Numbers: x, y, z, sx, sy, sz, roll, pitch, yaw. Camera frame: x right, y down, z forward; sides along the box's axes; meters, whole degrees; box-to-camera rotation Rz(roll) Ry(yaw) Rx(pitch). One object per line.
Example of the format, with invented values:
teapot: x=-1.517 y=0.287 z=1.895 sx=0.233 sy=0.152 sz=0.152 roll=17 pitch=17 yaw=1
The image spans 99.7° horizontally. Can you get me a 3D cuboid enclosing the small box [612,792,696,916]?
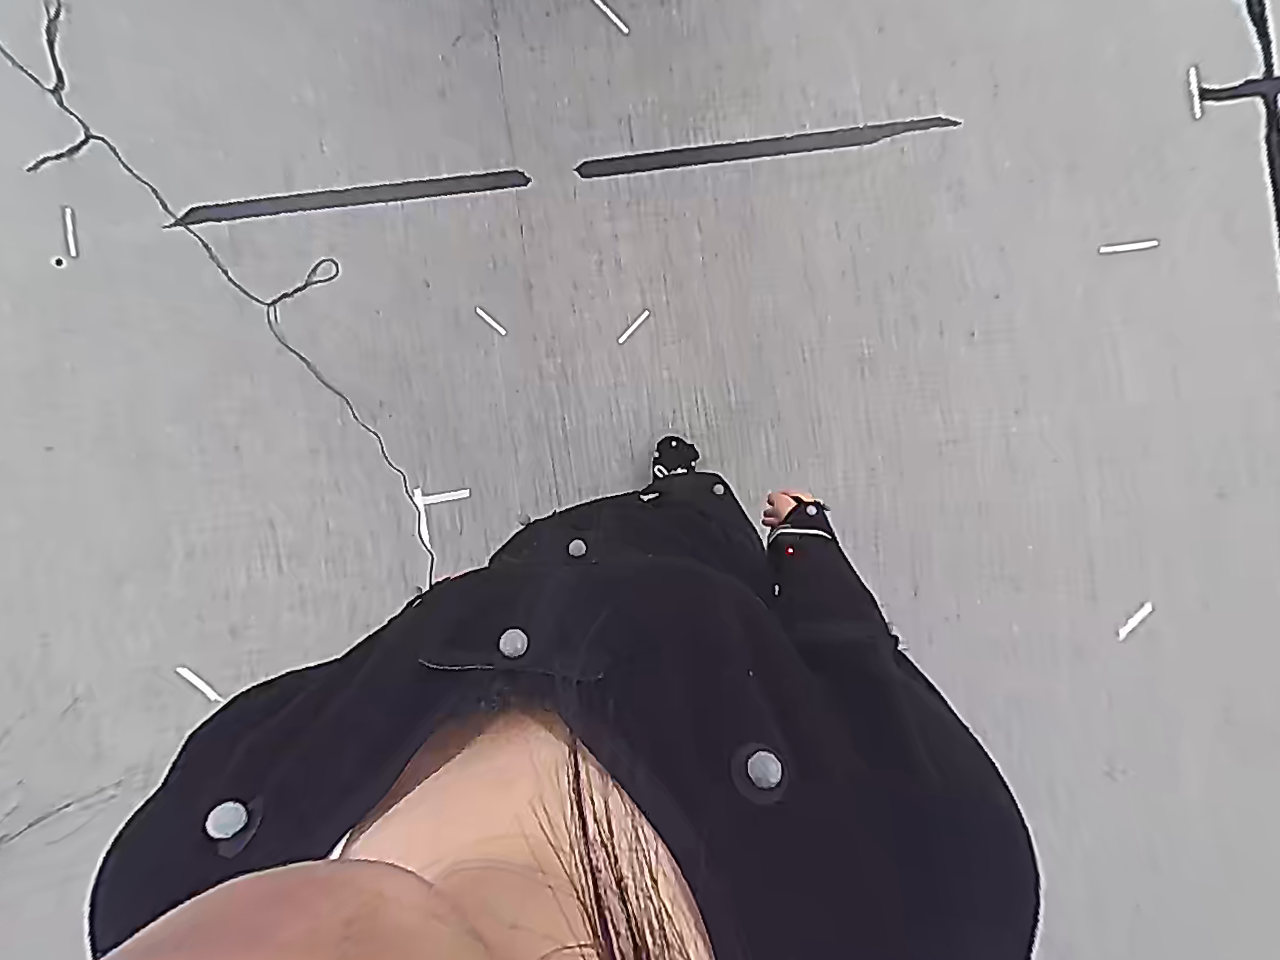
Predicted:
small box: x=0.032 y=0.859 z=1.265 sx=0.168 sy=0.176 sz=0.179 roll=-10 pitch=91 yaw=2
